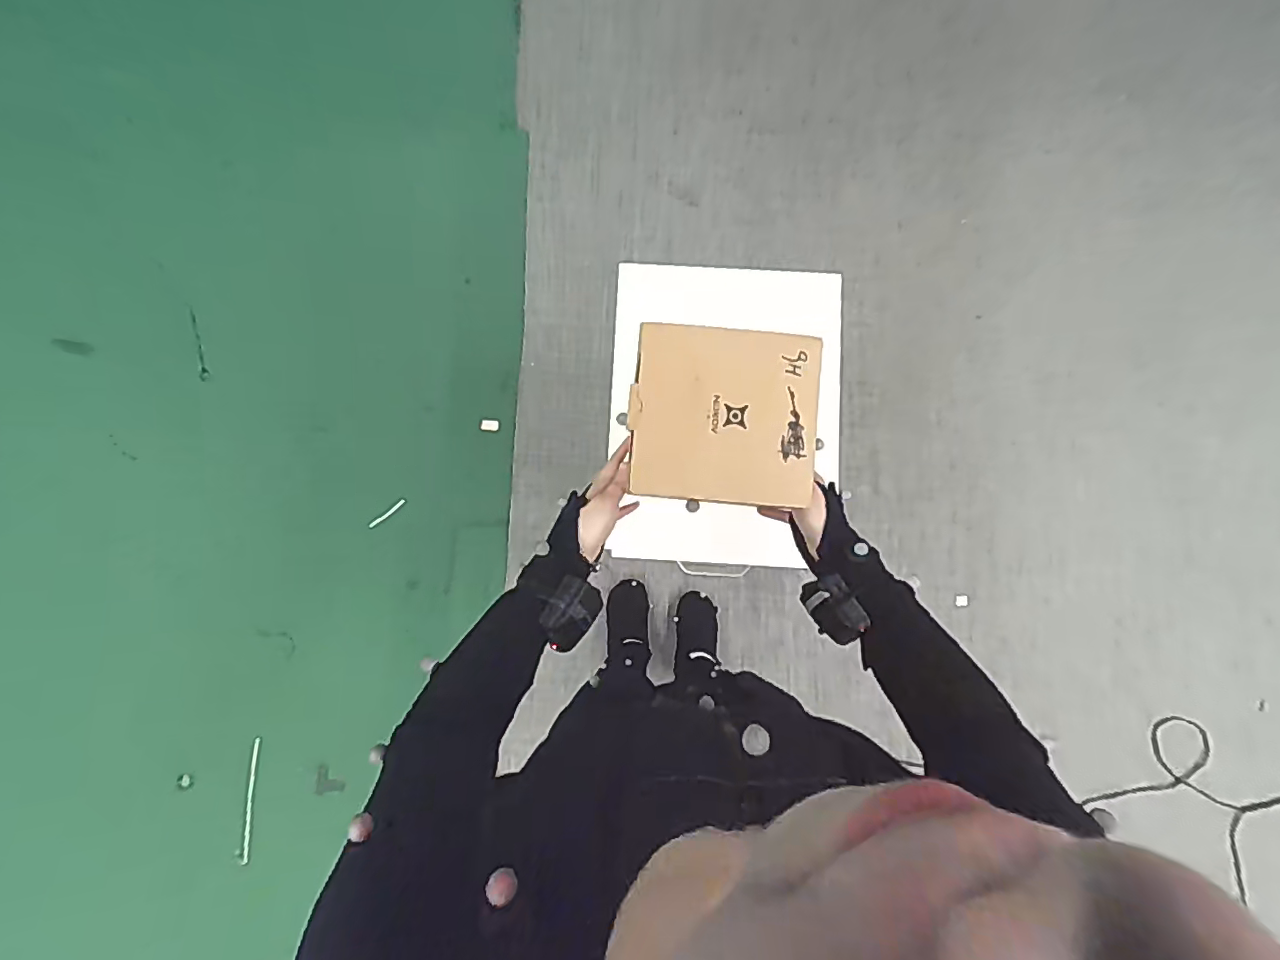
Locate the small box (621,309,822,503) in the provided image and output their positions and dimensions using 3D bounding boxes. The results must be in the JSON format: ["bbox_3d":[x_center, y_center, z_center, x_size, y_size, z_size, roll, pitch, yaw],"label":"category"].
[{"bbox_3d":[0.075,-0.065,0.579,0.179,0.176,0.168,6,86,-1],"label":"small box"}]
